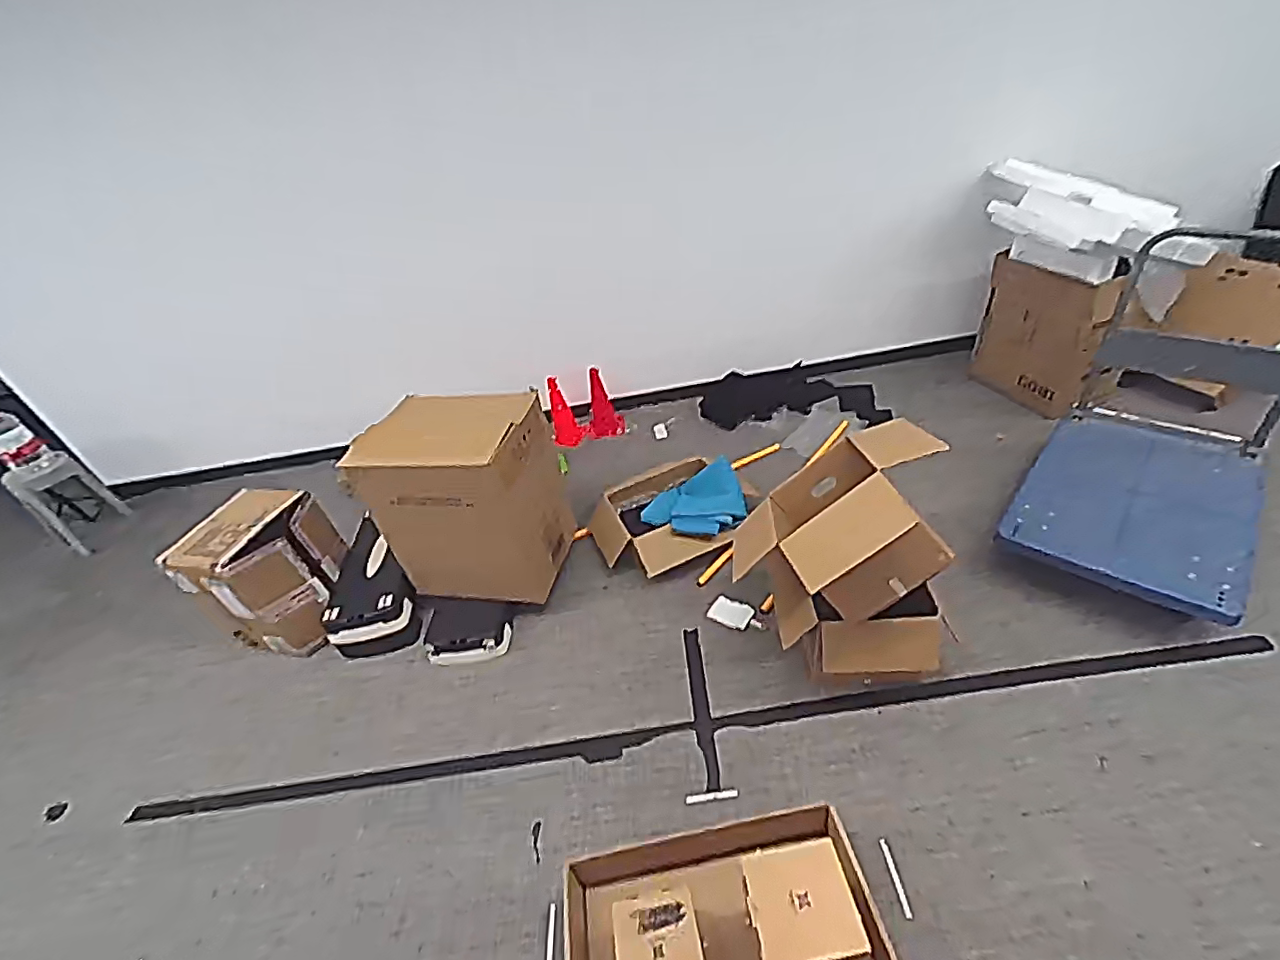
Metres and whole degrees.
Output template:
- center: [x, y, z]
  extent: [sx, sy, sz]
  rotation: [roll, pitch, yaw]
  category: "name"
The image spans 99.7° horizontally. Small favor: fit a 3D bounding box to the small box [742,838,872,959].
- center: [0.292, 0.782, 0.975]
  extent: [0.179, 0.176, 0.168]
  rotation: [-13, 37, 0]
  category: "small box"
